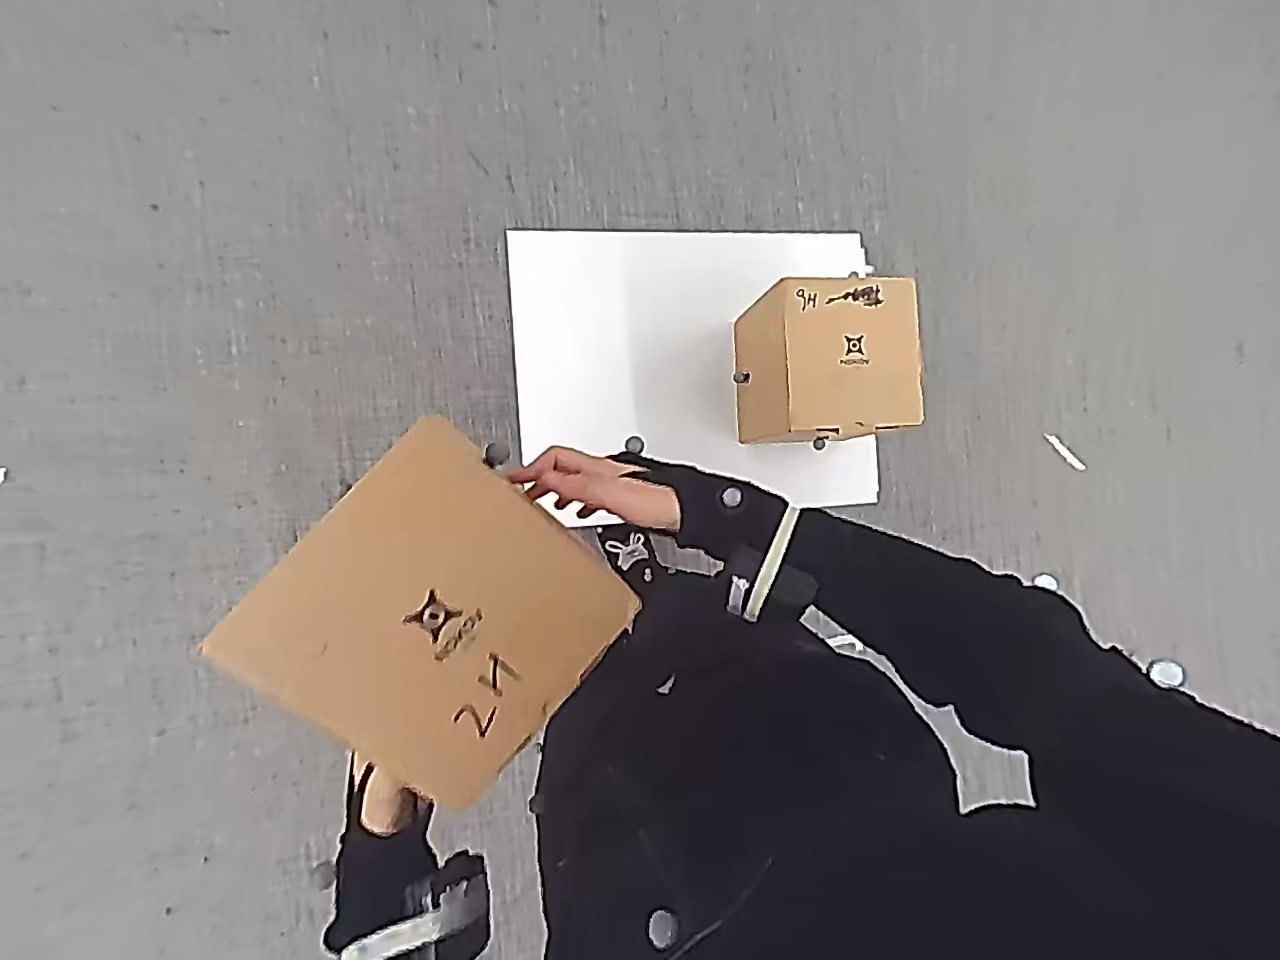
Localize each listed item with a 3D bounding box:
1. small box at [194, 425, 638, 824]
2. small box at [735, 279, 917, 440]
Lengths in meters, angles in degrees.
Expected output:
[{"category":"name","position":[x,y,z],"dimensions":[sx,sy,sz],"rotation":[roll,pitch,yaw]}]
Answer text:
[{"category":"small box","position":[-0.135,0.079,0.378],"dimensions":[0.179,0.176,0.168],"rotation":[44,84,-17]},{"category":"small box","position":[0.227,-0.141,0.693],"dimensions":[0.168,0.176,0.179],"rotation":[-3,91,-9]}]
